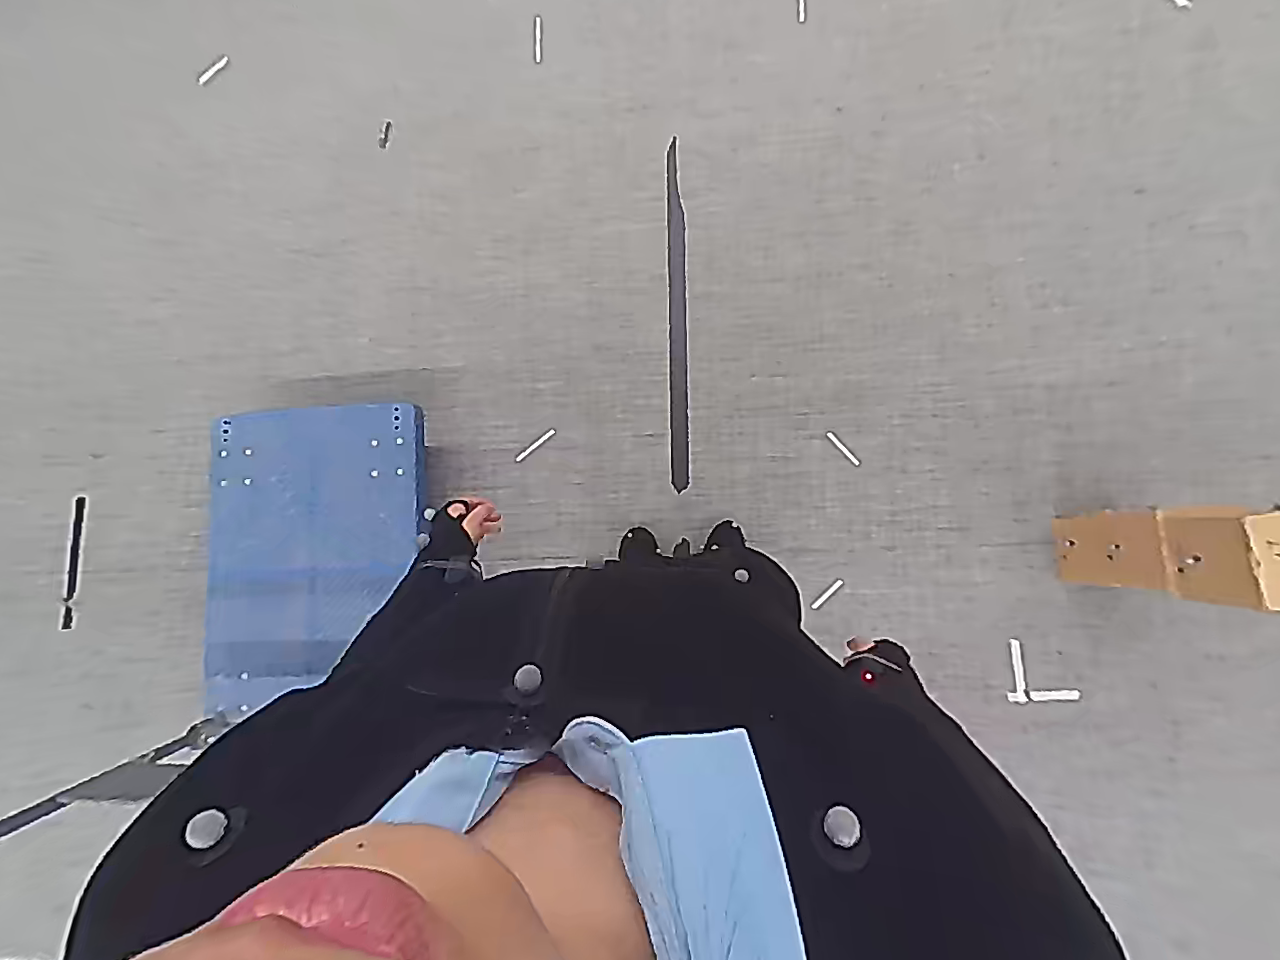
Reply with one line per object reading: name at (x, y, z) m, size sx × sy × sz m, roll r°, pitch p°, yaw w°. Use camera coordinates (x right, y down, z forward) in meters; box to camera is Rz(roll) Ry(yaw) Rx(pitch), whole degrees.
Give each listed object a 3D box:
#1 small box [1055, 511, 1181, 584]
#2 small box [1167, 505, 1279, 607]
small box at (1.169, 0.161, 1.323) m, size 0.179 × 0.176 × 0.168 m, roll -4°, pitch 84°, yaw 5°
small box at (1.146, 0.133, 0.995) m, size 0.179 × 0.176 × 0.168 m, roll -7°, pitch 83°, yaw 6°
